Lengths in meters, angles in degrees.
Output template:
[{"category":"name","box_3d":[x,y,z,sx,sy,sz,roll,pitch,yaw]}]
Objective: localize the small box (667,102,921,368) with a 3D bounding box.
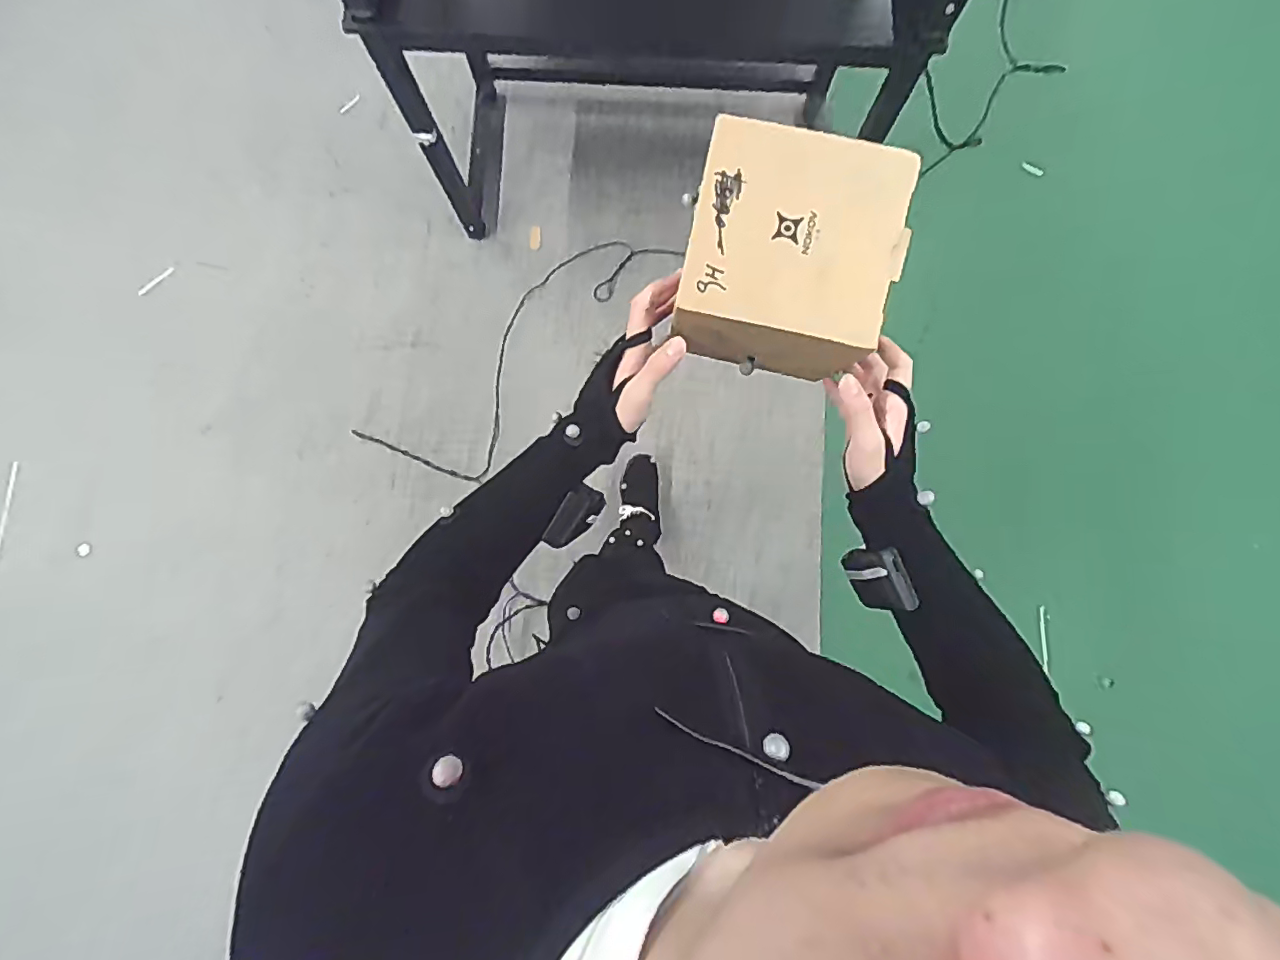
[{"category":"small box","box_3d":[0.129,-0.214,0.525,0.179,0.176,0.168,13,92,1]}]
